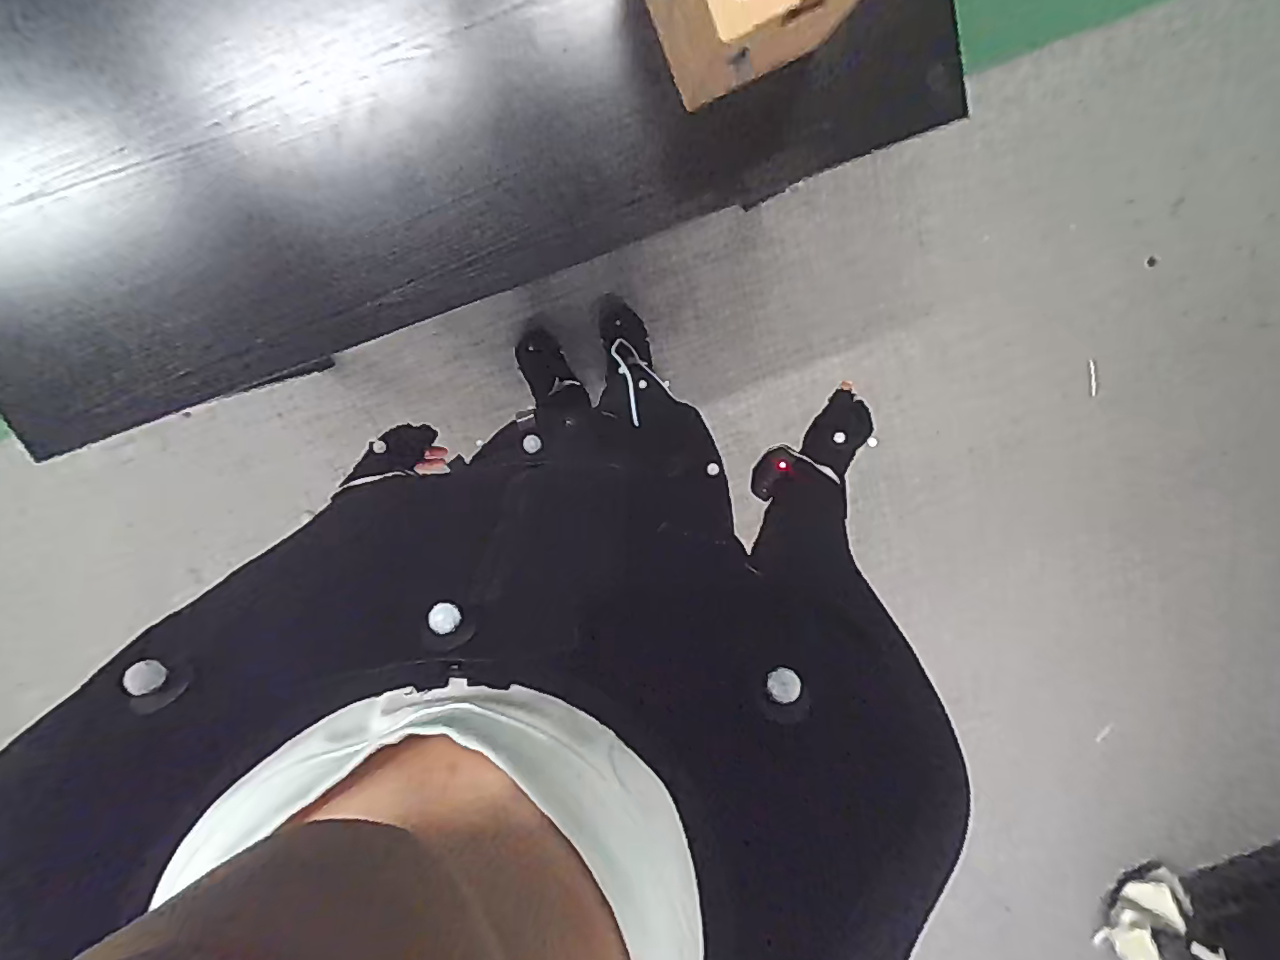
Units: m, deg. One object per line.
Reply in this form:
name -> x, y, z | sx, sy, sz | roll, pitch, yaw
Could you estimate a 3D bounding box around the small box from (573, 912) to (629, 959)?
small box -> -0.142, 1.759, 2.006 | 0.179, 0.176, 0.168 | -19, 109, -1
